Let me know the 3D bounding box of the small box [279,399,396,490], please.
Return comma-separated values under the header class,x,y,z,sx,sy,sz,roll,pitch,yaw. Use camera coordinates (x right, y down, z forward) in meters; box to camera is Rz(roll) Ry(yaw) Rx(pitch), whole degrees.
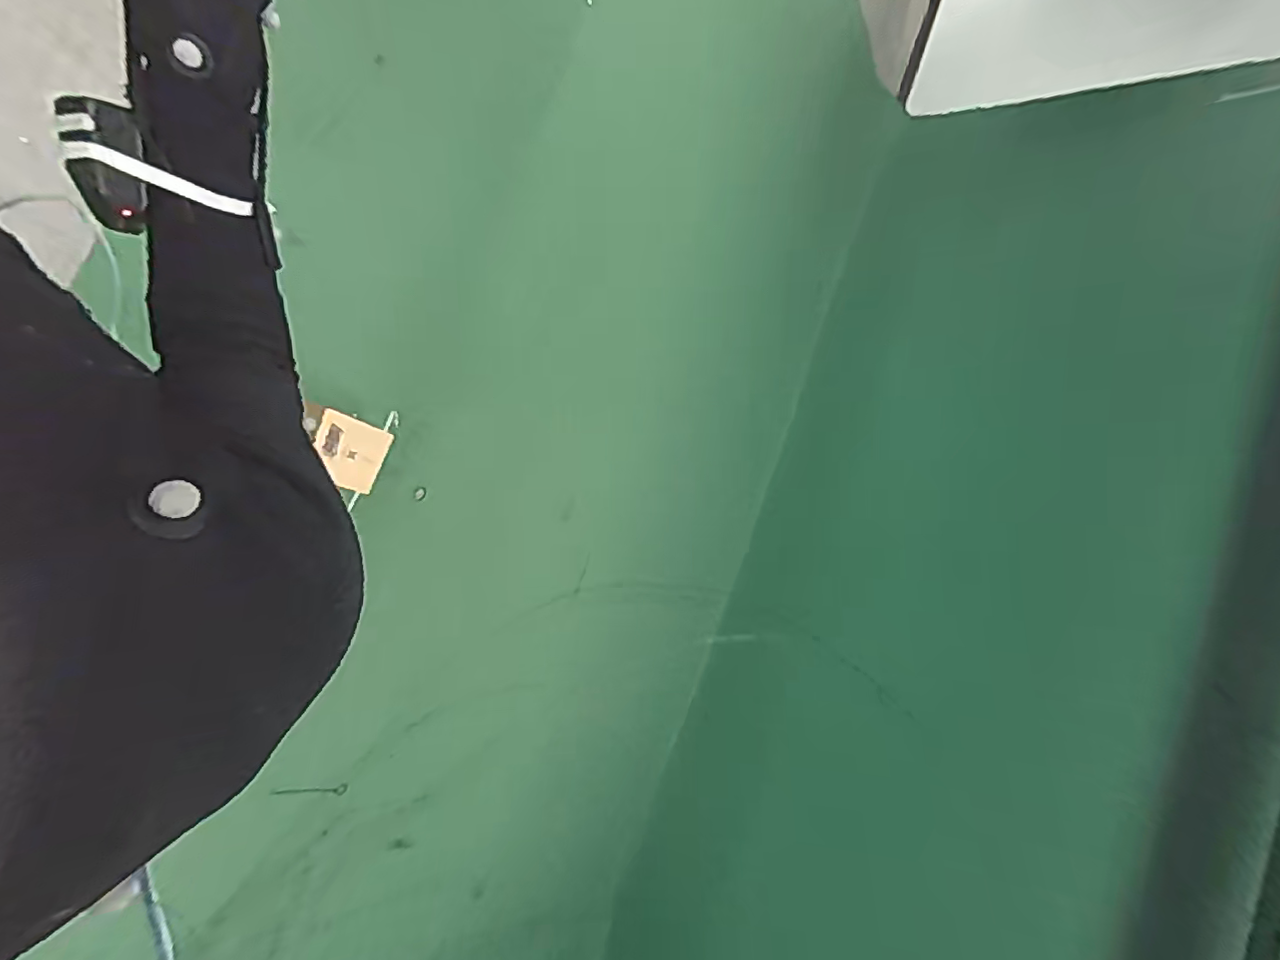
class,x,y,z,sx,sy,sz,roll,pitch,yaw
small box,-0.757,-0.093,1.348,0.179,0.176,0.168,30,80,-53
